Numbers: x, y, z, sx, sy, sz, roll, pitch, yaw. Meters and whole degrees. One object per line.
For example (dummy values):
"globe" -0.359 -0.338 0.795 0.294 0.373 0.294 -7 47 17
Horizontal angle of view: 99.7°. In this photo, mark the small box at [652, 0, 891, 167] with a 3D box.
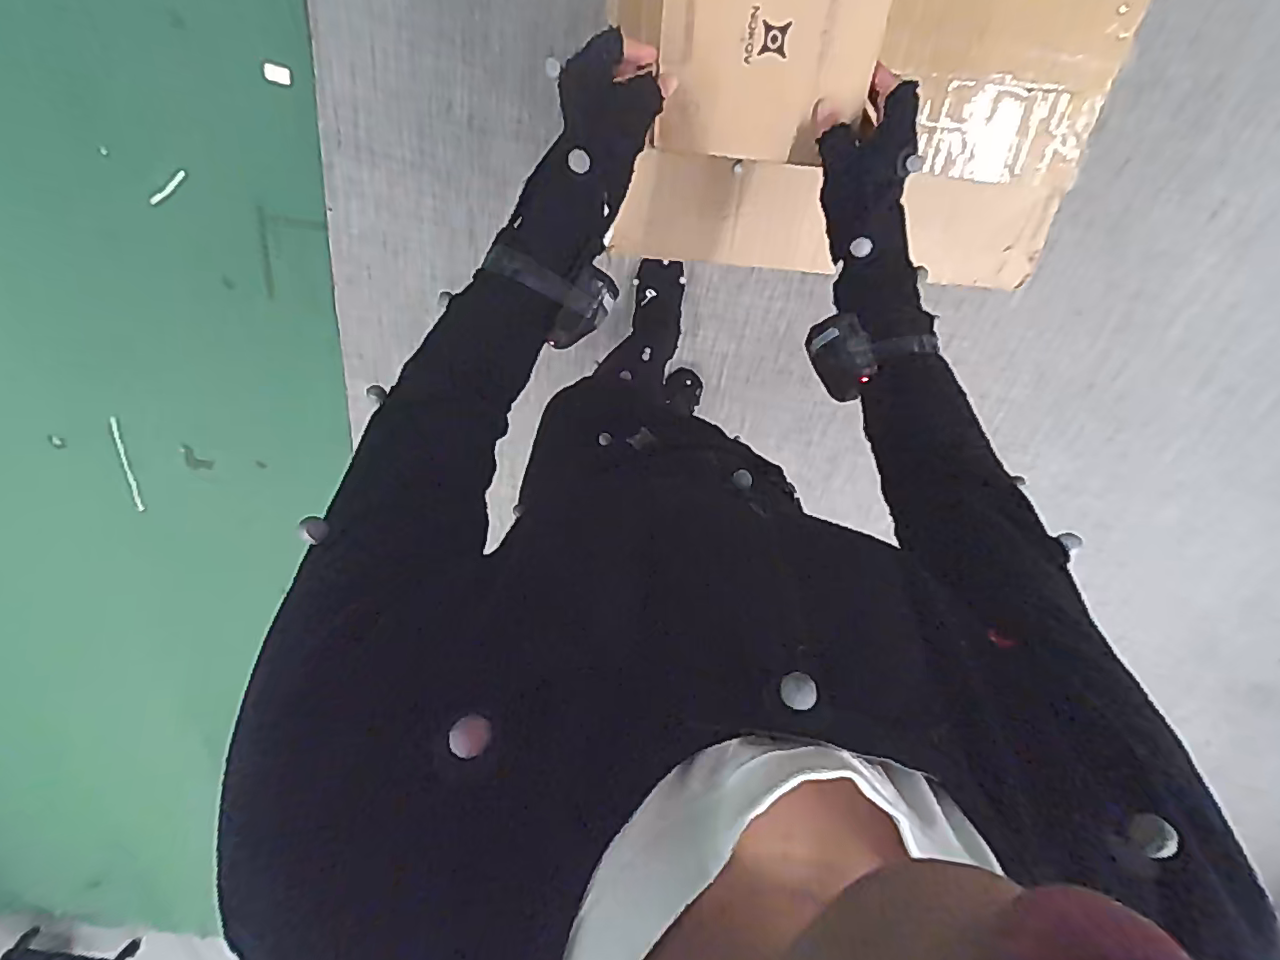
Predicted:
"small box" 0.105 -0.390 0.494 0.179 0.176 0.168 4 122 -2
